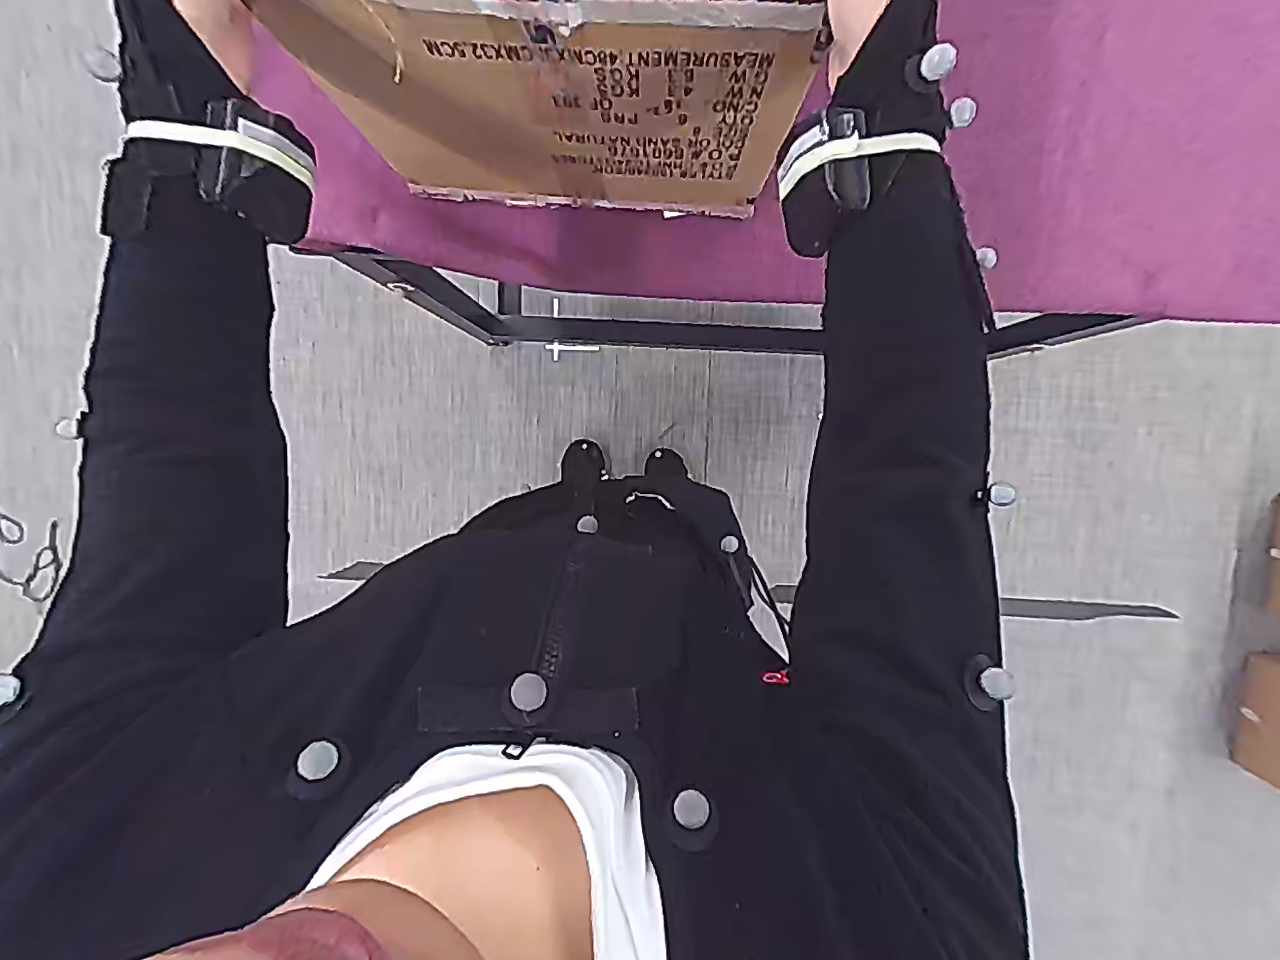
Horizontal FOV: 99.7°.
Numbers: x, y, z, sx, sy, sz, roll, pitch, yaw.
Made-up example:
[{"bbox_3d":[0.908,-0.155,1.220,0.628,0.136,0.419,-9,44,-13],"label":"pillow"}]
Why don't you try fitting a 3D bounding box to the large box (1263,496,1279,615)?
[{"bbox_3d":[1.794,0.201,1.221,0.408,0.320,0.320,1,94,1],"label":"large box"}]
